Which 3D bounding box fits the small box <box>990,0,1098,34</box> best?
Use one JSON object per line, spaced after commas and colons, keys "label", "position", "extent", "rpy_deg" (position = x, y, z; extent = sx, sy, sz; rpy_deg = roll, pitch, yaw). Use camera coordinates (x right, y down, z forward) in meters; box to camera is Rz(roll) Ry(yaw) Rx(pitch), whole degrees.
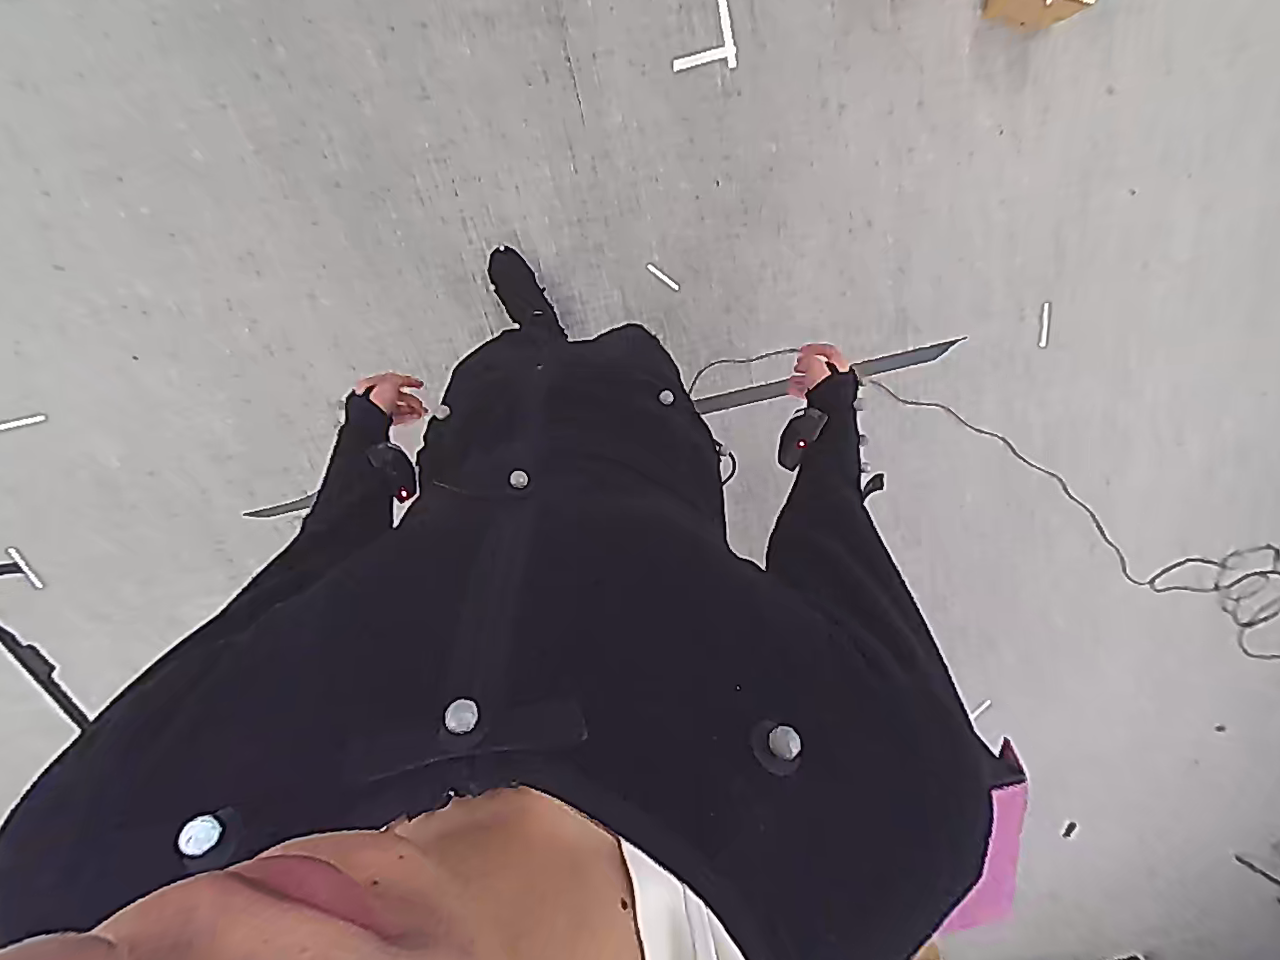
{"label": "small box", "position": [0.969, -1.202, 1.265], "extent": [0.168, 0.176, 0.179], "rpy_deg": [9, 109, -11]}

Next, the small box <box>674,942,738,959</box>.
{"label": "small box", "position": [0.186, 1.332, 1.376], "extent": [0.168, 0.176, 0.179], "rpy_deg": [-8, 111, -5]}
